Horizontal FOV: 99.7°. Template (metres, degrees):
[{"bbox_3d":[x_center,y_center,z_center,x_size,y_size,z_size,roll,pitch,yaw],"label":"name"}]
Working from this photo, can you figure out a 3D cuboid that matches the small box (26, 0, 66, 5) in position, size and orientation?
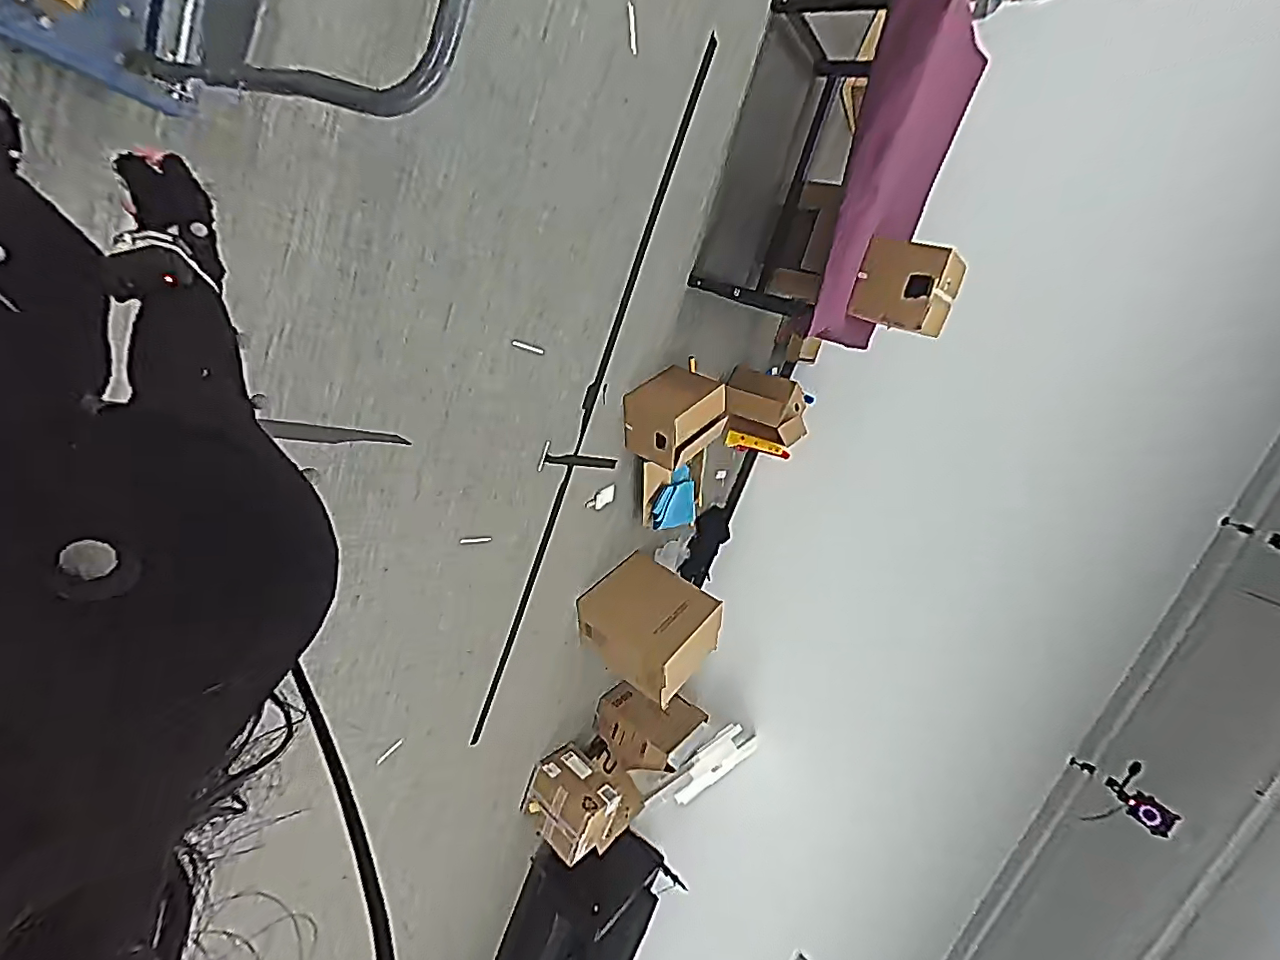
[{"bbox_3d":[-0.822,-0.733,0.661,0.179,0.176,0.168,13,100,-58],"label":"small box"}]
